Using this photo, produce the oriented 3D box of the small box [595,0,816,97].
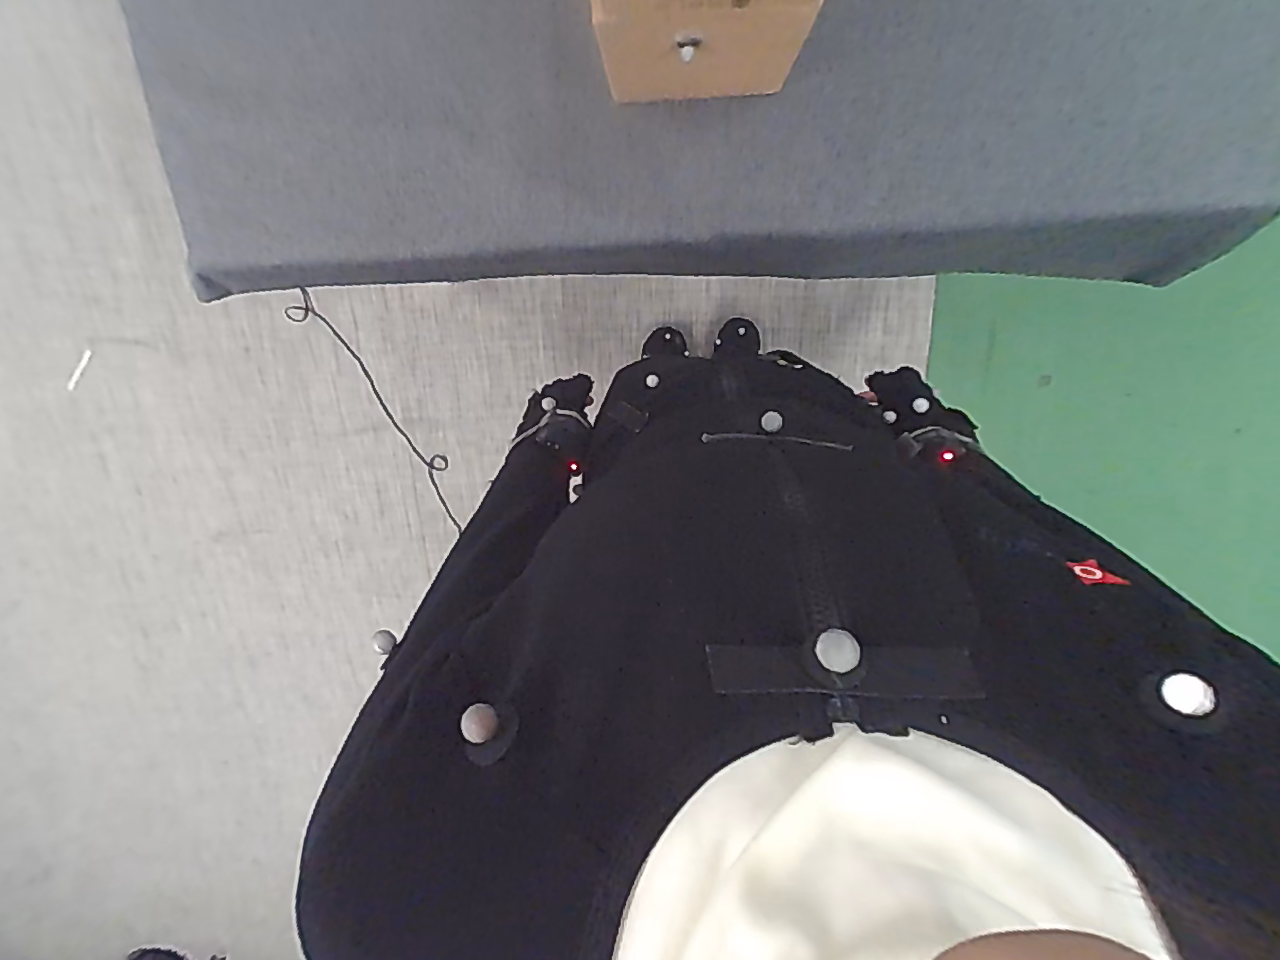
[{"bbox_3d":[0.055,-0.462,0.473,0.179,0.176,0.168,-1,107,4],"label":"small box"}]
